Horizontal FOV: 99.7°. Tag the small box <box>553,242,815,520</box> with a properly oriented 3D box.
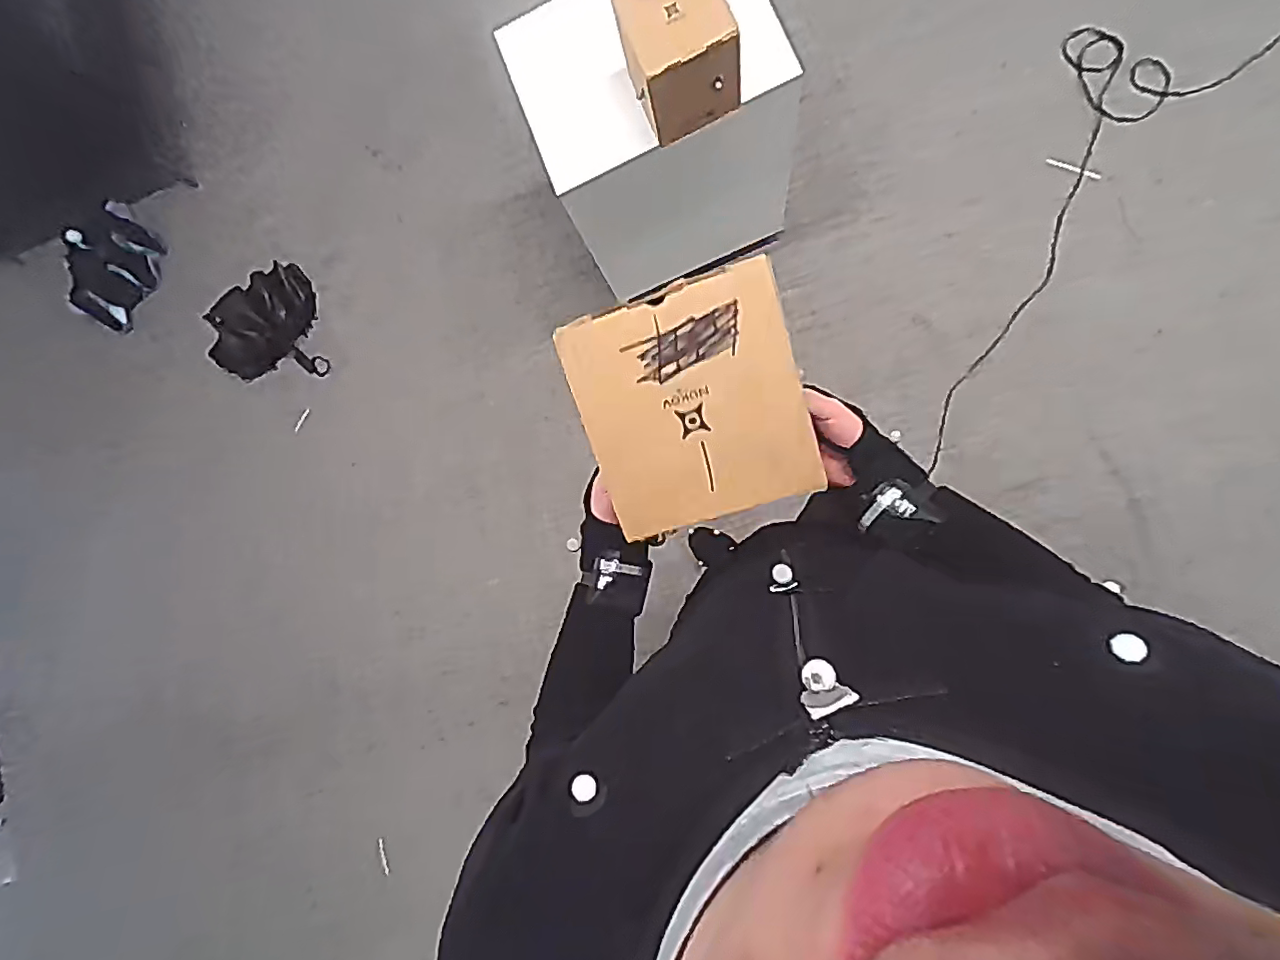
[{"bbox_3d":[0.041,-0.085,0.487,0.168,0.176,0.179,-15,101,10],"label":"small box"}]

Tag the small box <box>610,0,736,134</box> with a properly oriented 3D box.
[{"bbox_3d":[0.065,-0.756,0.954,0.168,0.176,0.179,-22,81,7],"label":"small box"}]
